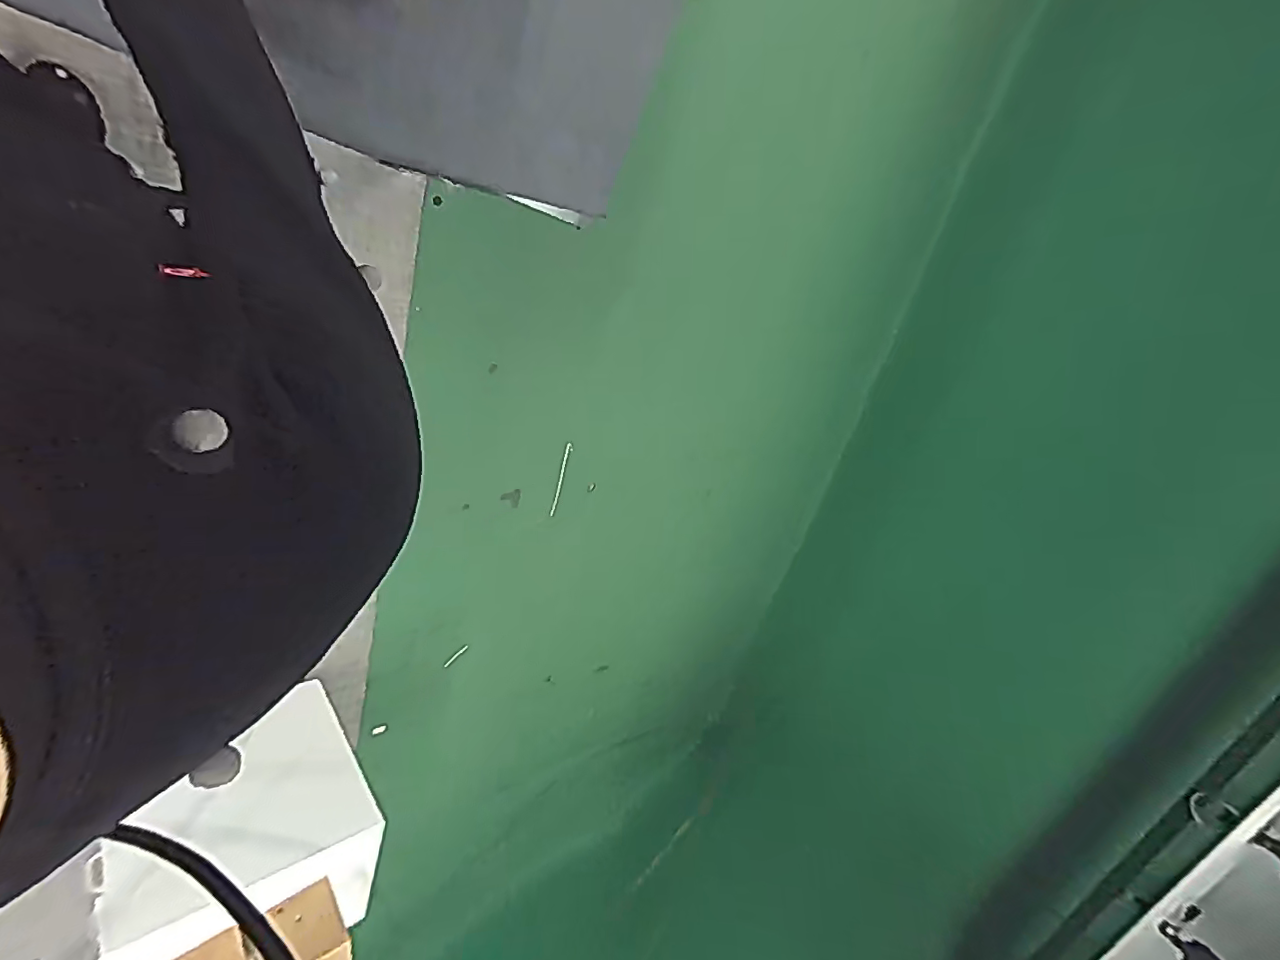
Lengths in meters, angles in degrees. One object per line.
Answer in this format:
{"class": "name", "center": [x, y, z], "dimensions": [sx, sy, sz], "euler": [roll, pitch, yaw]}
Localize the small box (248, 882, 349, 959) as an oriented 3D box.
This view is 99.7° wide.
{"class": "small box", "center": [-0.793, 1.098, 1.259], "dimensions": [0.168, 0.176, 0.179], "euler": [-12, 125, -43]}
